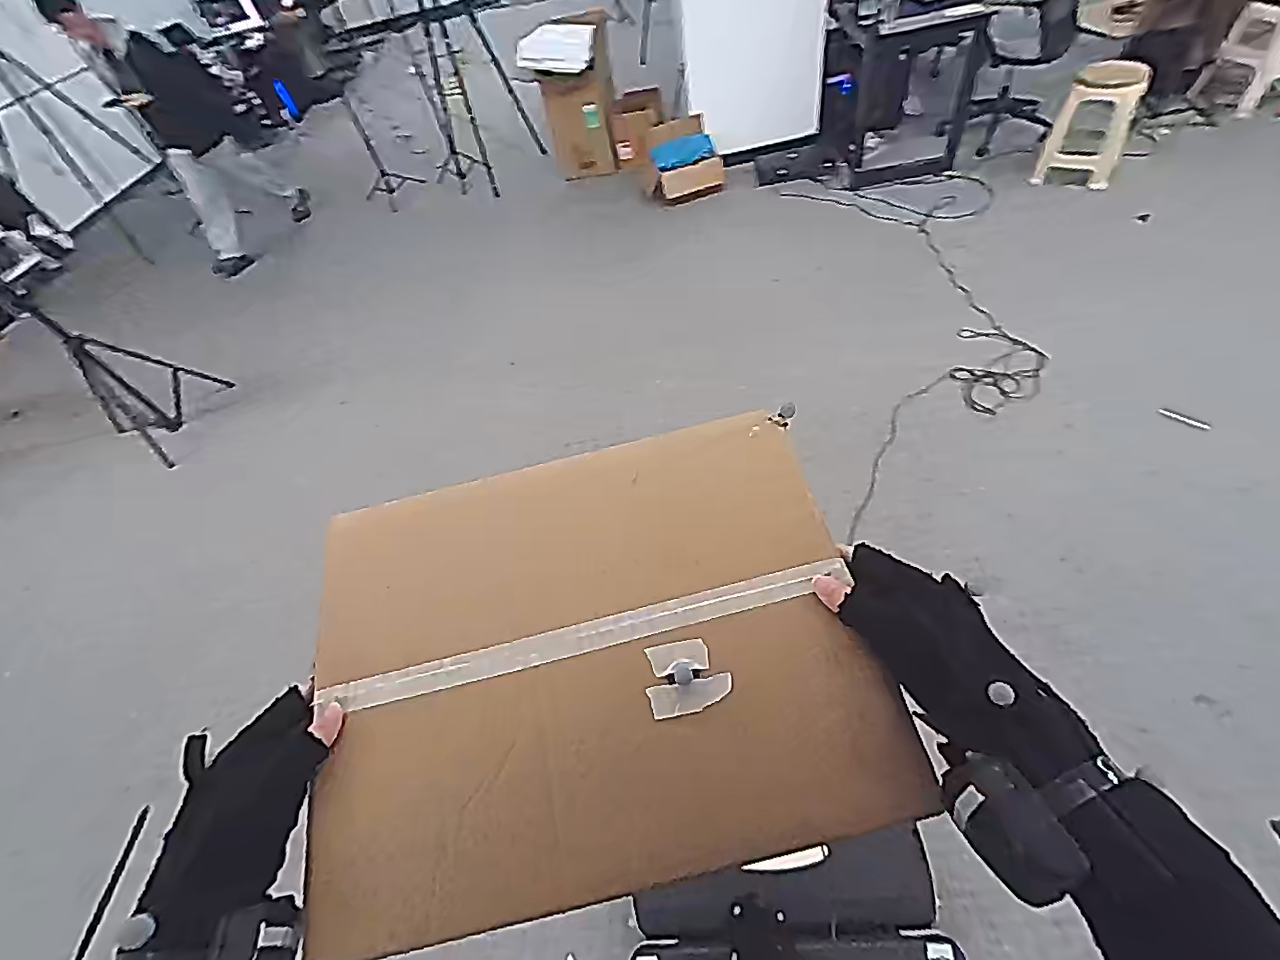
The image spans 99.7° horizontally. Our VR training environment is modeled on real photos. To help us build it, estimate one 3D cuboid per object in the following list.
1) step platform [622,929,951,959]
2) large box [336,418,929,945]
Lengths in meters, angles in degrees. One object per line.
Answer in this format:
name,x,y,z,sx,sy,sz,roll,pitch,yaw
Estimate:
step platform,0.292,1.080,1.057,0.684,0.204,0.286,-10,50,8
large box,-0.019,0.190,0.547,0.408,0.320,0.320,-14,62,0
